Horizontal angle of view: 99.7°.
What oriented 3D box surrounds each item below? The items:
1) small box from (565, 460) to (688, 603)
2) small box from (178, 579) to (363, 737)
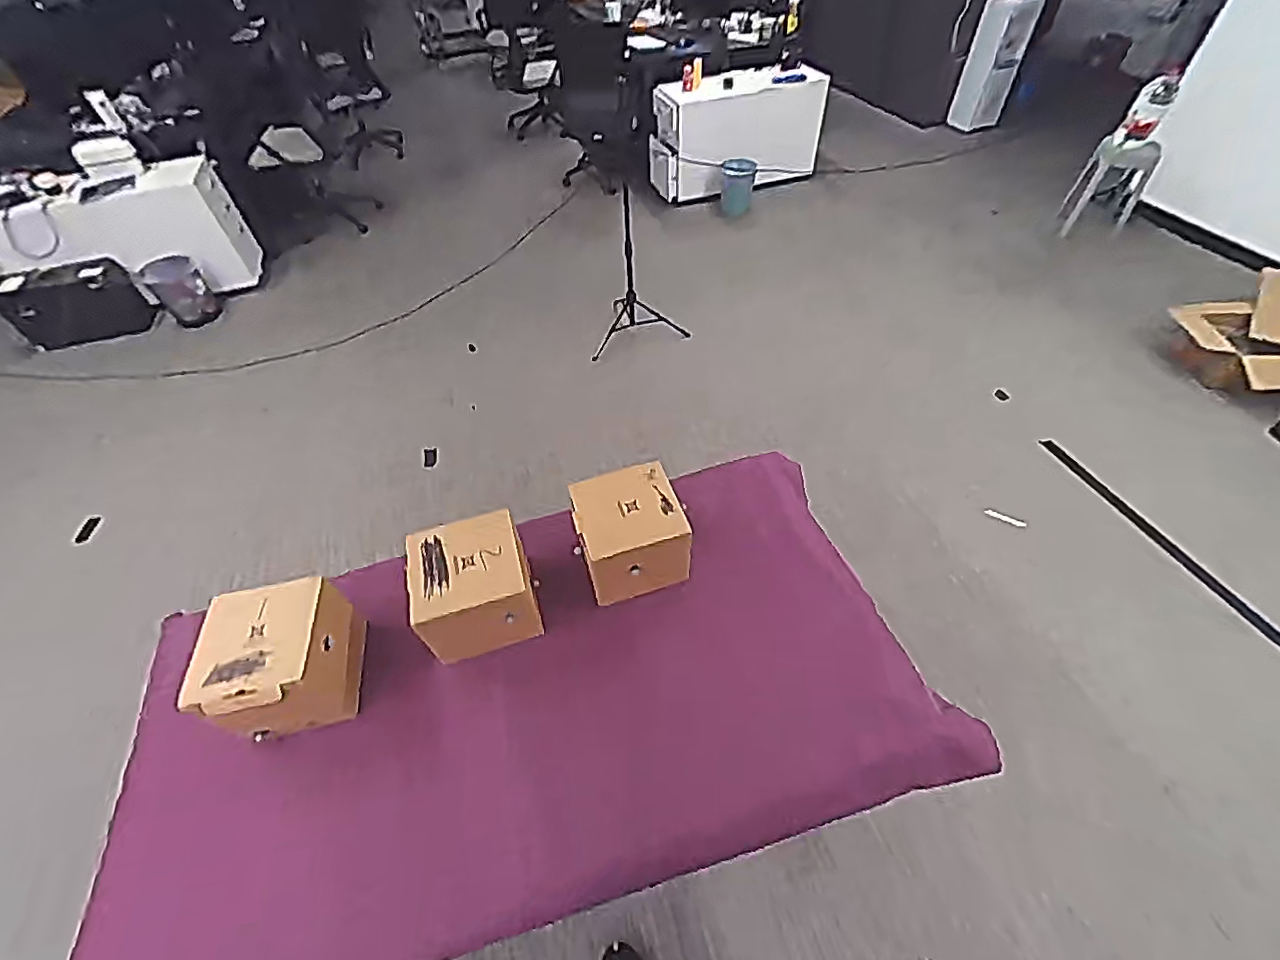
[{"bbox_3d":[-0.021,0.097,0.969,0.179,0.176,0.168,-16,53,-9],"label":"small box"},{"bbox_3d":[-0.555,0.284,0.845,0.168,0.176,0.179,-11,50,-7],"label":"small box"}]
